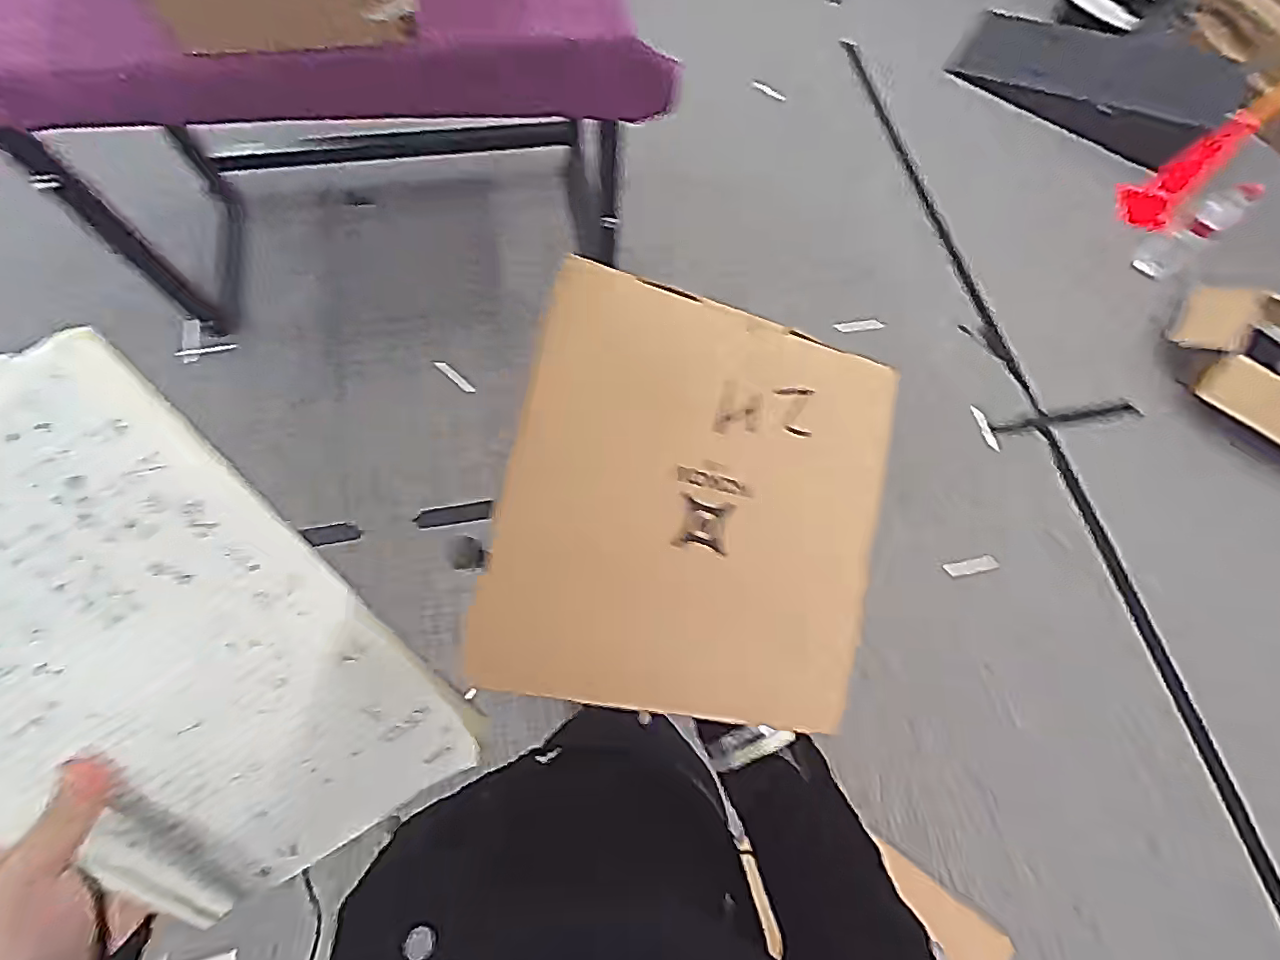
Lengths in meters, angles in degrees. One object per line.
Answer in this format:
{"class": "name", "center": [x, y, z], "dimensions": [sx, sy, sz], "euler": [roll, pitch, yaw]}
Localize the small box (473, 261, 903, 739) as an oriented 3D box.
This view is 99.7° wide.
{"class": "small box", "center": [0.010, 0.018, 0.305], "dimensions": [0.168, 0.176, 0.179], "euler": [13, 82, -16]}
